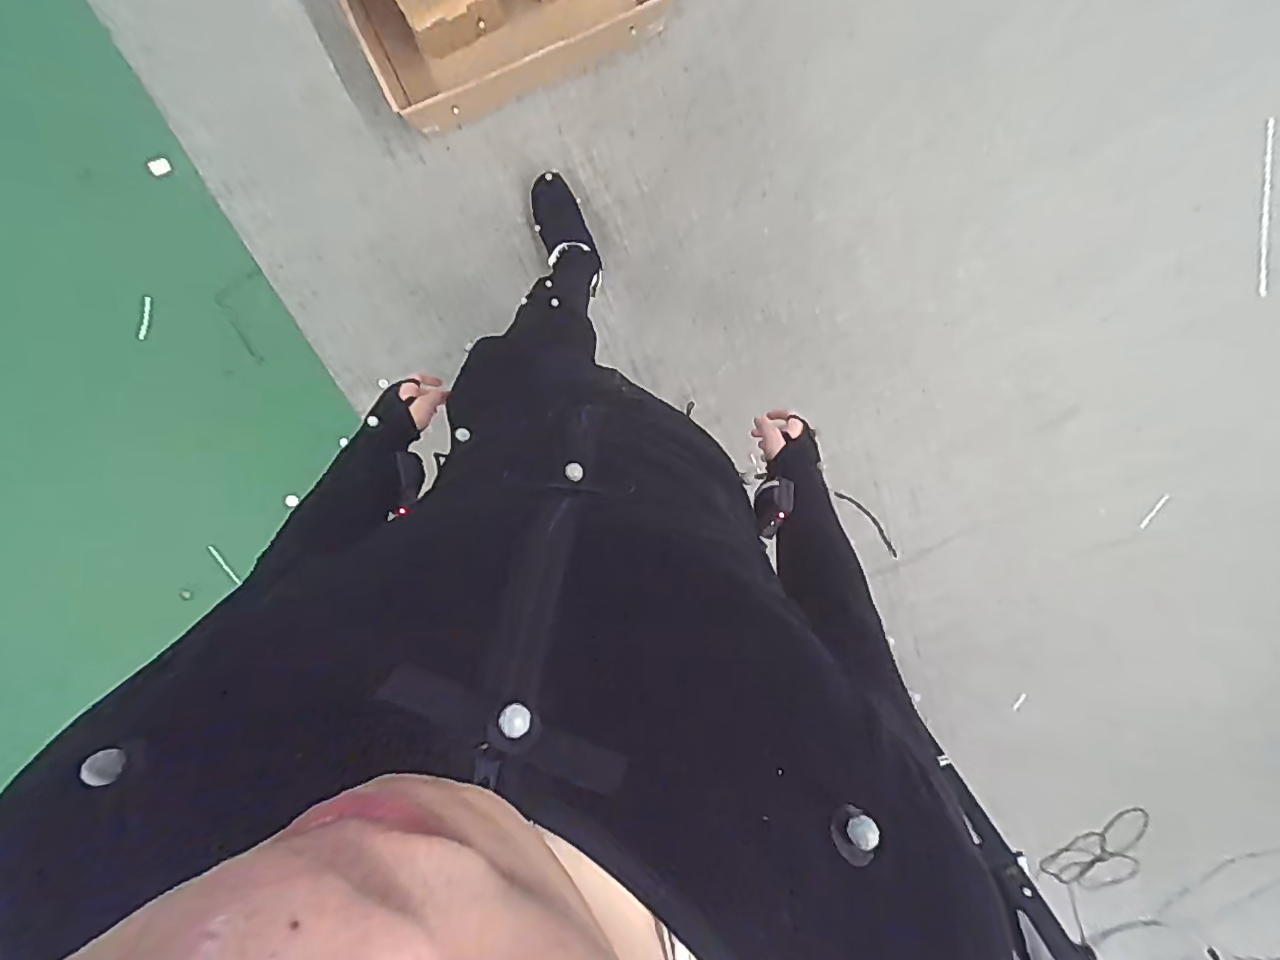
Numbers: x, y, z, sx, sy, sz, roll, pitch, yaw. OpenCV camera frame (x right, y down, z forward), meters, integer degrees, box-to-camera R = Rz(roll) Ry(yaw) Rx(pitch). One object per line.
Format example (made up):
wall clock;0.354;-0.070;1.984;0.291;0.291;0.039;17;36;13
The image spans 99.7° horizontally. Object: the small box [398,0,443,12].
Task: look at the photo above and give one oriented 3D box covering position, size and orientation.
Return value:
small box;-0.381;-0.937;0.907;0.168;0.176;0.179;-24;113;4
